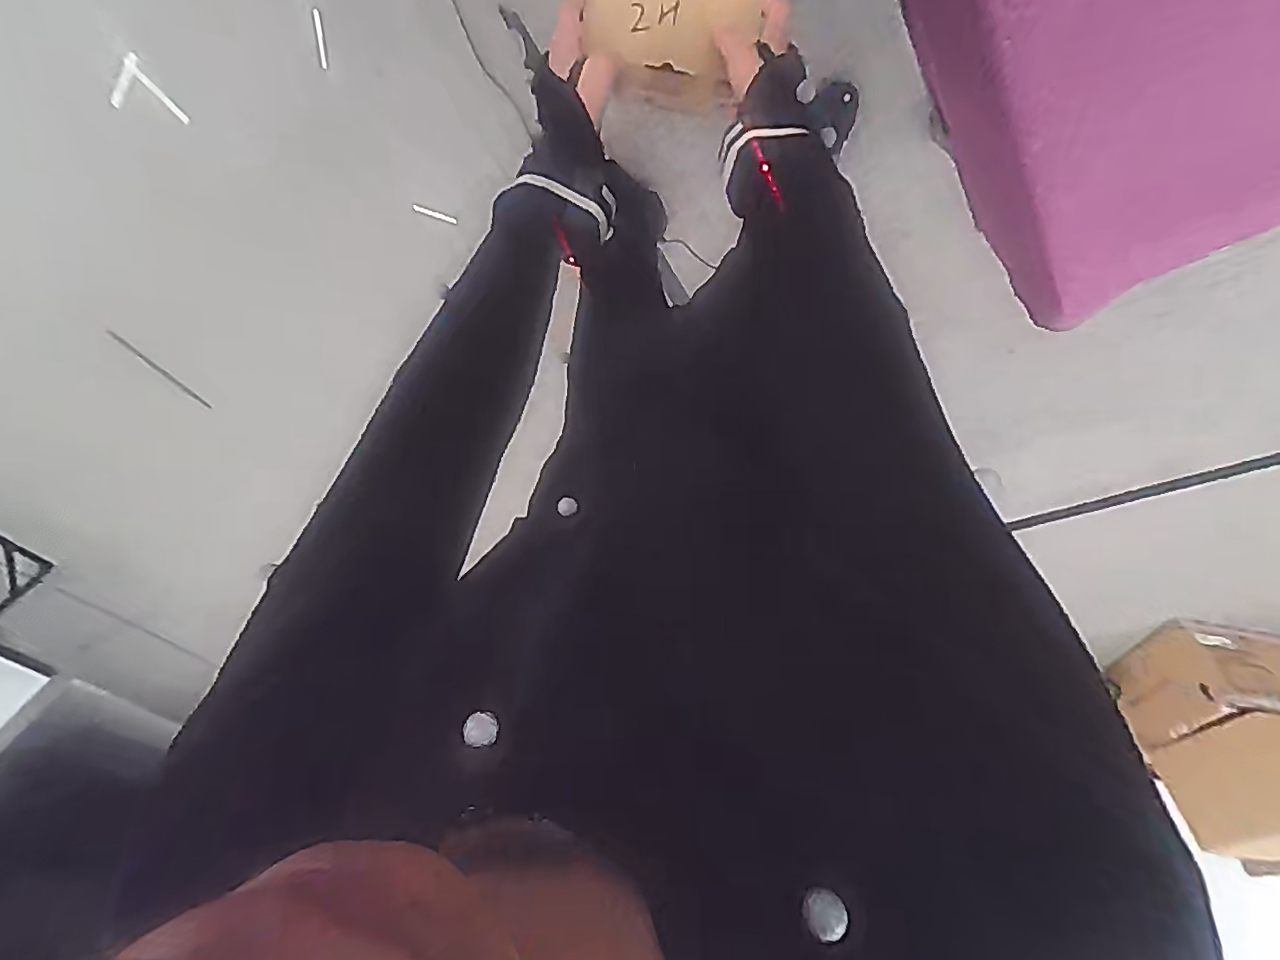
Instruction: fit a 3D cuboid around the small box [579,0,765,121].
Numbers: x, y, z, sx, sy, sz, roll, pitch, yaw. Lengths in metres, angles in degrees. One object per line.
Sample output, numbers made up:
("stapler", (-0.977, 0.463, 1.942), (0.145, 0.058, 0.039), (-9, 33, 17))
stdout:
("small box", (0.027, -0.497, 0.555), (0.168, 0.176, 0.179), (4, 115, -9))
